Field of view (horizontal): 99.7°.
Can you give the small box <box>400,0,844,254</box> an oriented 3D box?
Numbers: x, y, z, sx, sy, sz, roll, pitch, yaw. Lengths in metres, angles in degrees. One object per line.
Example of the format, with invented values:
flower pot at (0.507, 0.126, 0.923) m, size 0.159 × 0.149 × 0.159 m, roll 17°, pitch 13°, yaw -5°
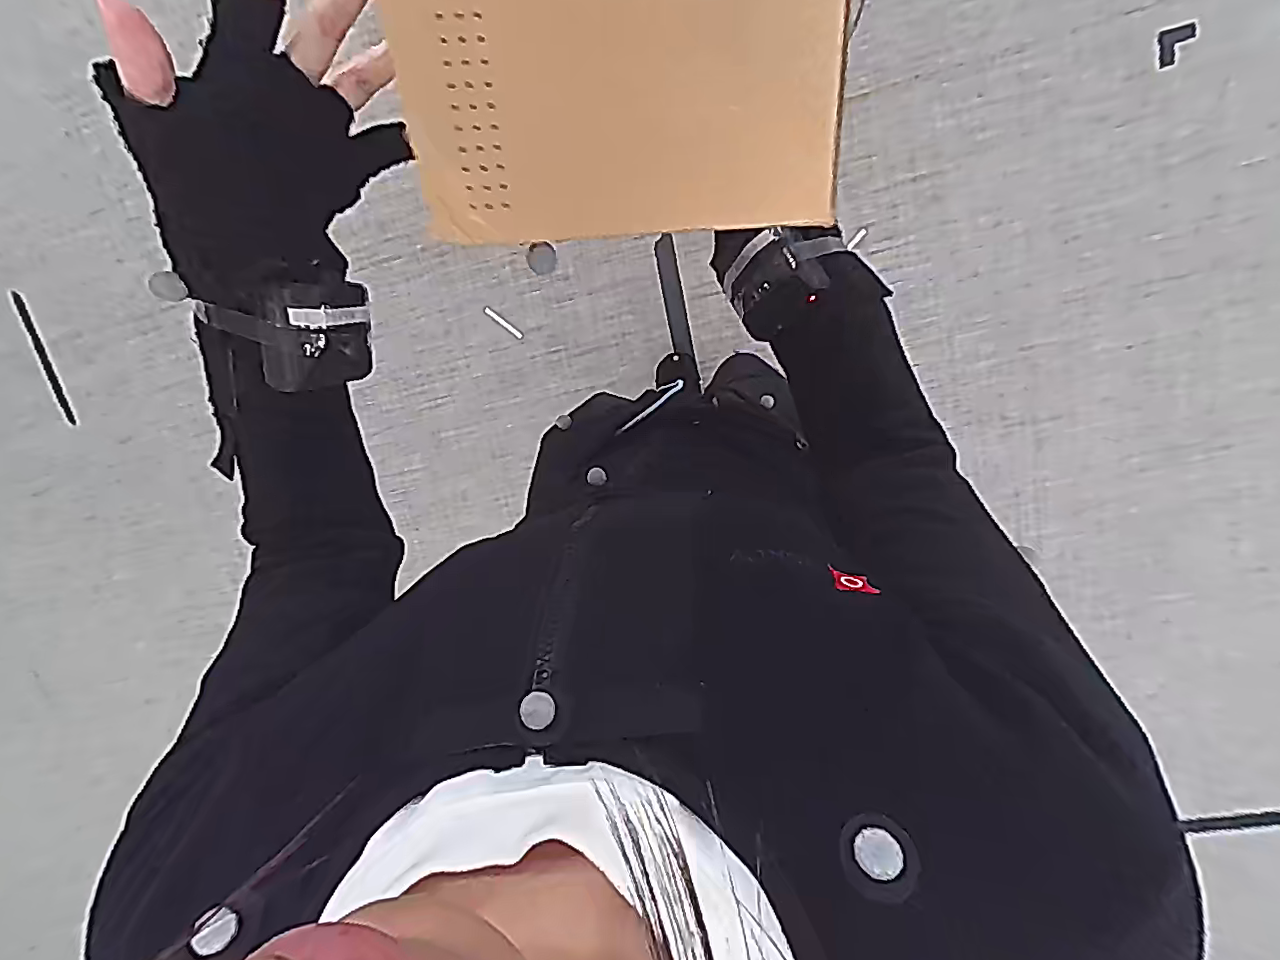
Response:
small box at (-0.018, -0.215, 0.265) m, size 0.176 × 0.168 × 0.179 m, roll -7°, pitch 116°, yaw -6°
